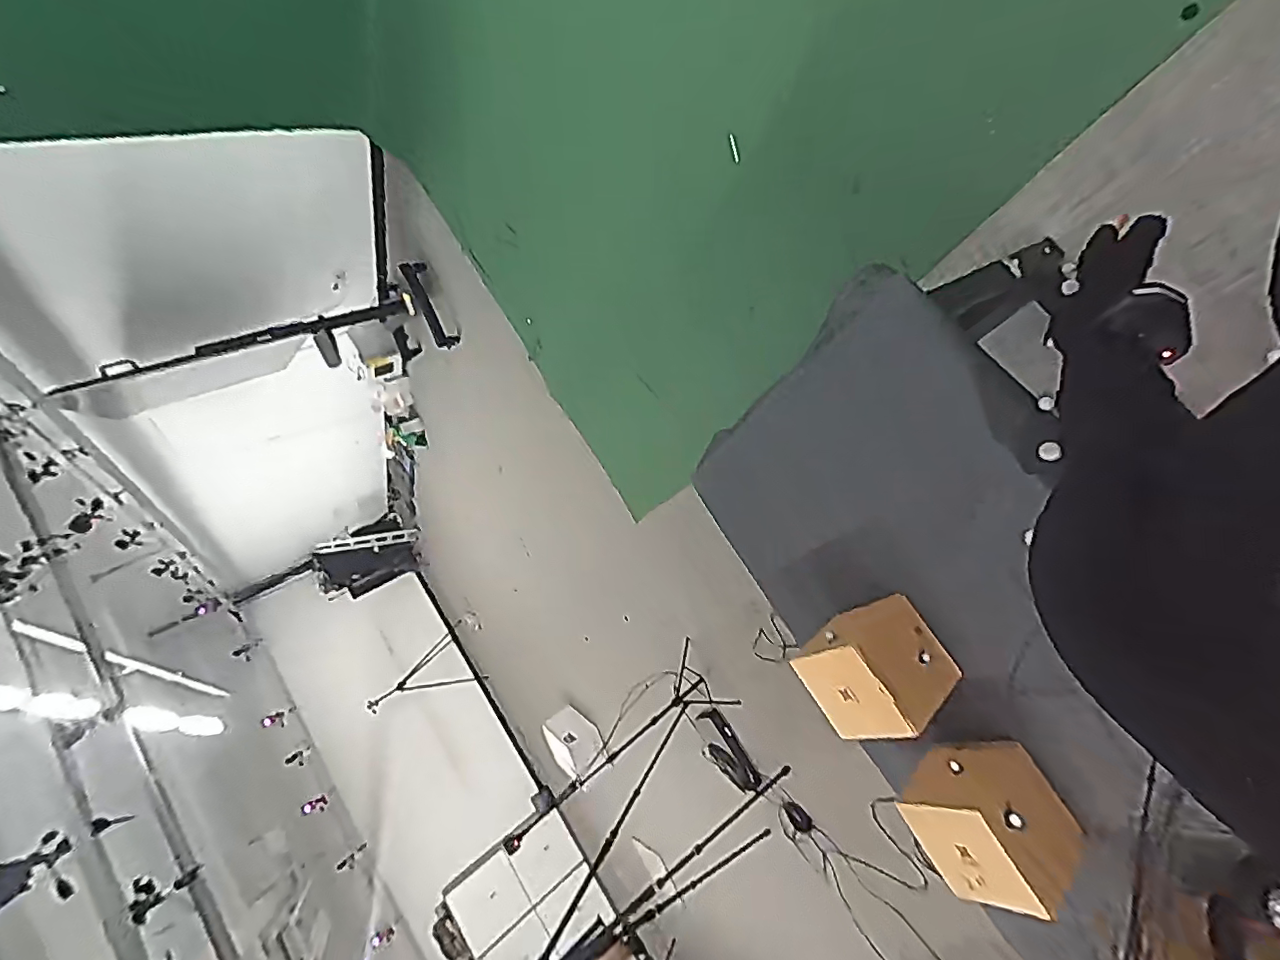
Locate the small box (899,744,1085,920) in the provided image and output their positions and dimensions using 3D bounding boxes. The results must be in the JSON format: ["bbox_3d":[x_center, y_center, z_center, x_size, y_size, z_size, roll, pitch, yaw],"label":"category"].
[{"bbox_3d":[0.585,0.567,0.902,0.179,0.176,0.168,57,146,9],"label":"small box"}]

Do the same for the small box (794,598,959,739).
[{"bbox_3d":[0.421,0.337,0.969,0.168,0.176,0.179,56,146,10],"label":"small box"}]

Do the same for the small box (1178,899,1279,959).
[{"bbox_3d":[0.812,0.670,0.664,0.179,0.176,0.168,56,147,10],"label":"small box"}]
